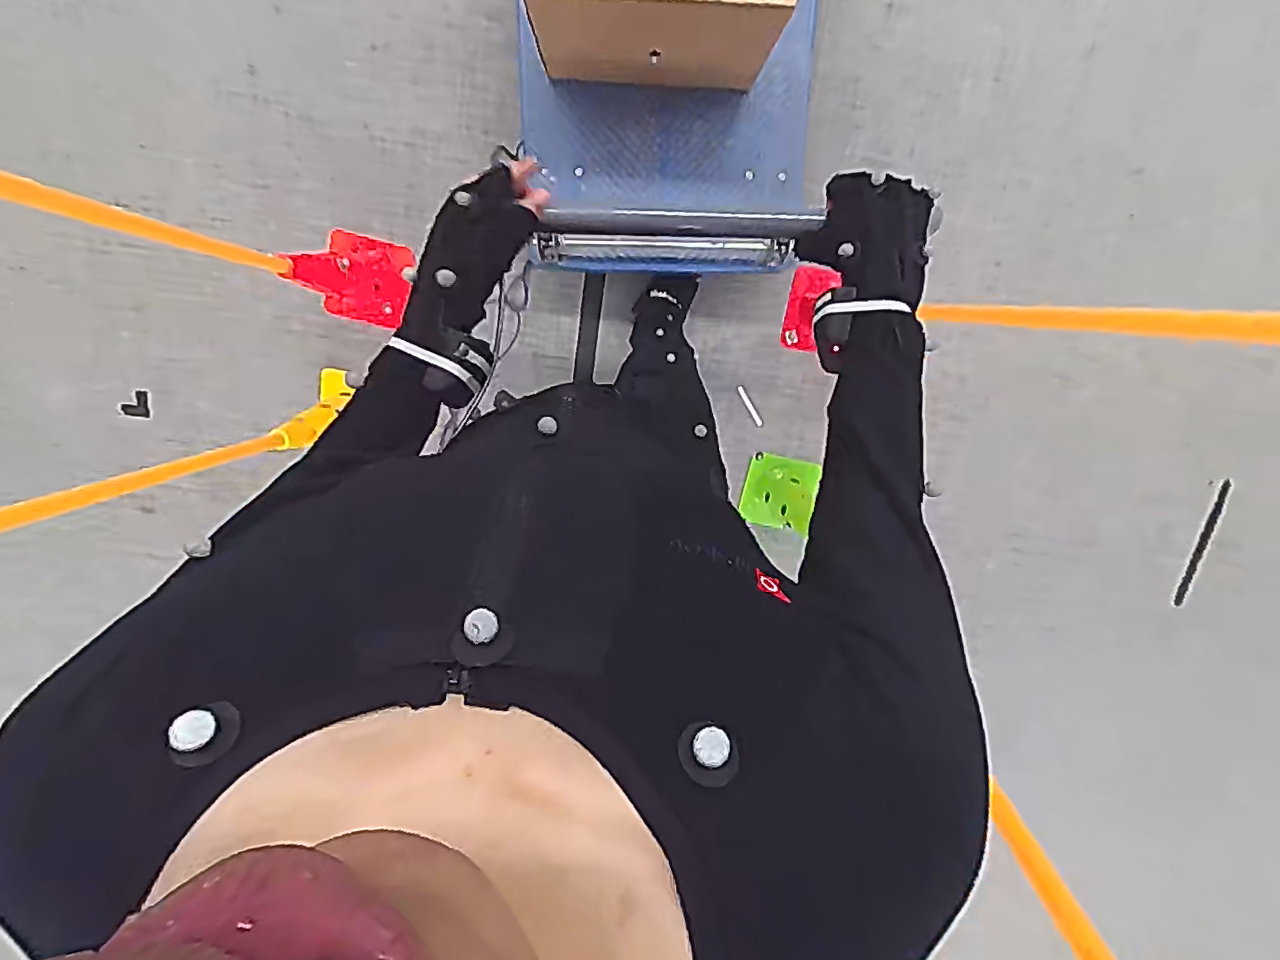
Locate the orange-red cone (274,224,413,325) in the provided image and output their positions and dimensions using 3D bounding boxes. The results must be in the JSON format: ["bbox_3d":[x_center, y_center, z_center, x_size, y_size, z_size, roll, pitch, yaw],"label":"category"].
[{"bbox_3d":[-0.653,-0.451,1.145,0.198,0.360,0.199,14,104,-7],"label":"orange-red cone"}]

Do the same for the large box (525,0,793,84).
[{"bbox_3d":[0.029,-0.890,0.888,0.408,0.320,0.320,2,107,-2],"label":"large box"}]

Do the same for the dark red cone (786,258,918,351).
[{"bbox_3d":[0.480,-0.386,1.178,0.201,0.394,0.202,7,106,-6],"label":"dark red cone"}]

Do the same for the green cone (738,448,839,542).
[{"bbox_3d":[0.391,0.068,1.324,0.202,0.368,0.200,11,105,-6],"label":"green cone"}]
